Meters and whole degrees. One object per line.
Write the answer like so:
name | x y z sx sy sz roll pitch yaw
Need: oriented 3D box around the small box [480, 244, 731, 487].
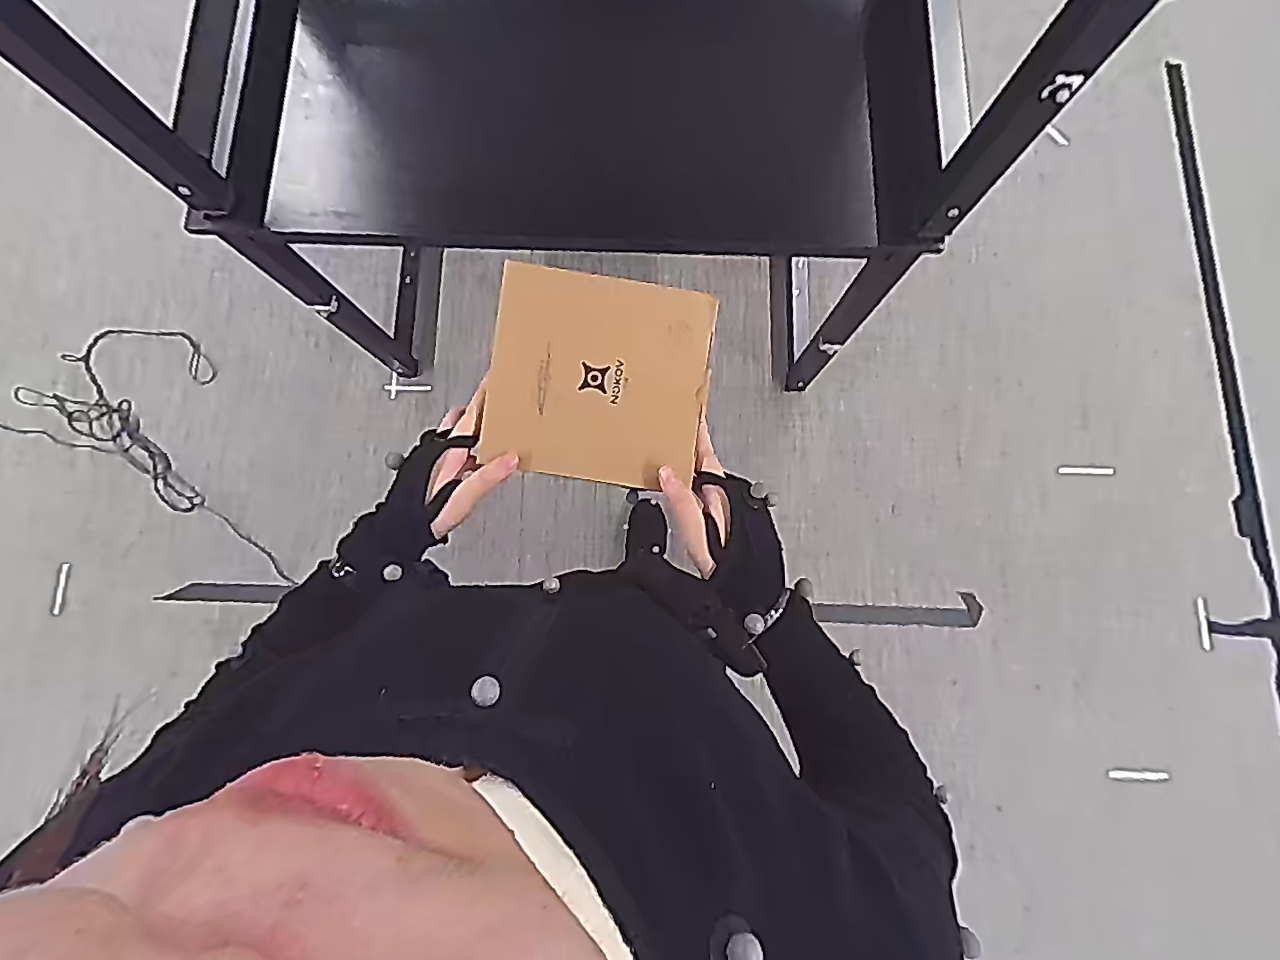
small box | -0.030 -0.090 0.501 0.179 0.176 0.168 9 89 -3
